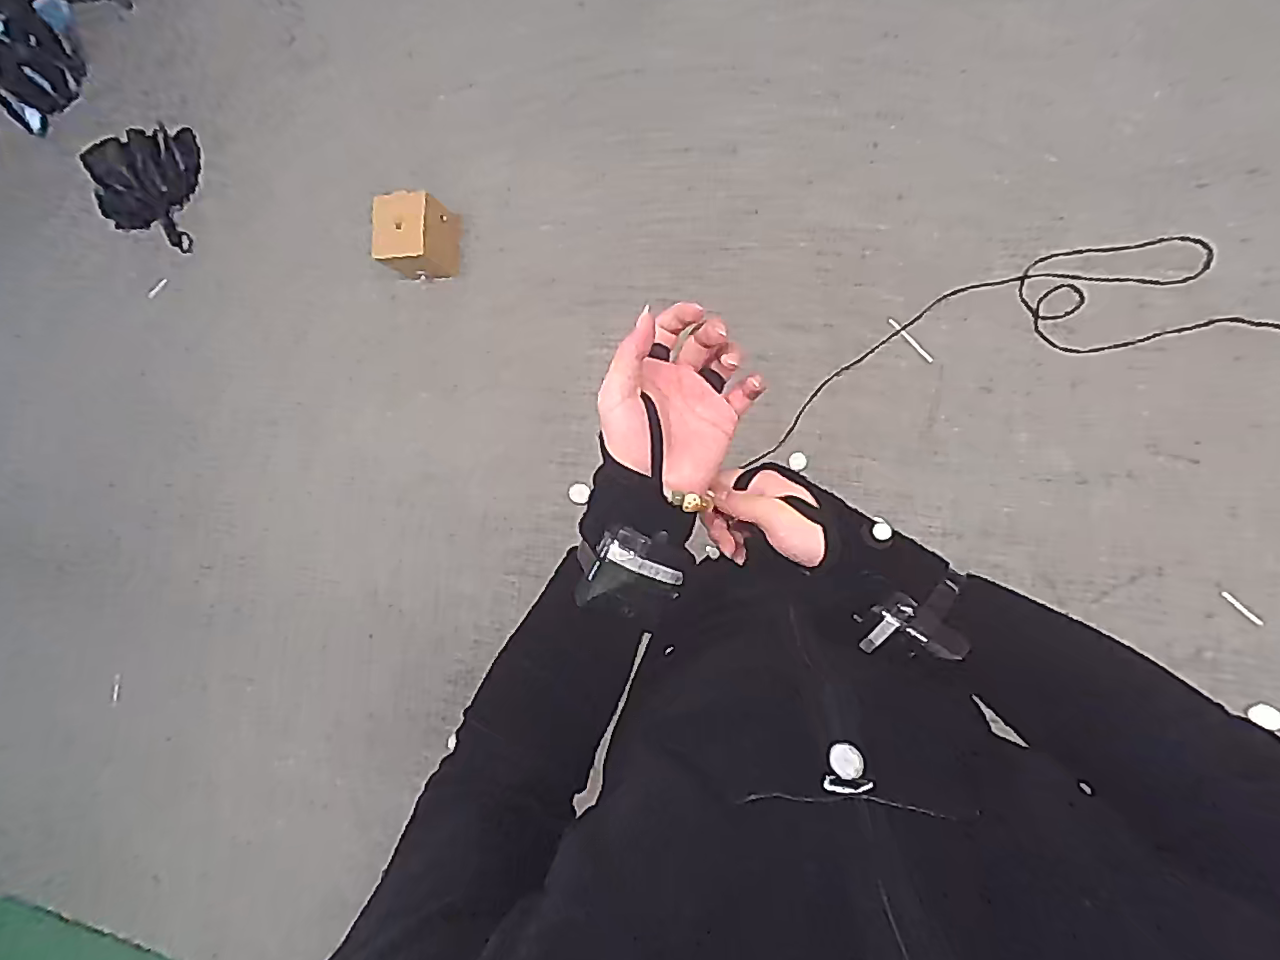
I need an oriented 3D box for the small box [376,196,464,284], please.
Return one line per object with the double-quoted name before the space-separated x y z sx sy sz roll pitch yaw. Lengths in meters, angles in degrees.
"small box" -0.619 -0.675 1.536 0.168 0.176 0.179 2 91 15
